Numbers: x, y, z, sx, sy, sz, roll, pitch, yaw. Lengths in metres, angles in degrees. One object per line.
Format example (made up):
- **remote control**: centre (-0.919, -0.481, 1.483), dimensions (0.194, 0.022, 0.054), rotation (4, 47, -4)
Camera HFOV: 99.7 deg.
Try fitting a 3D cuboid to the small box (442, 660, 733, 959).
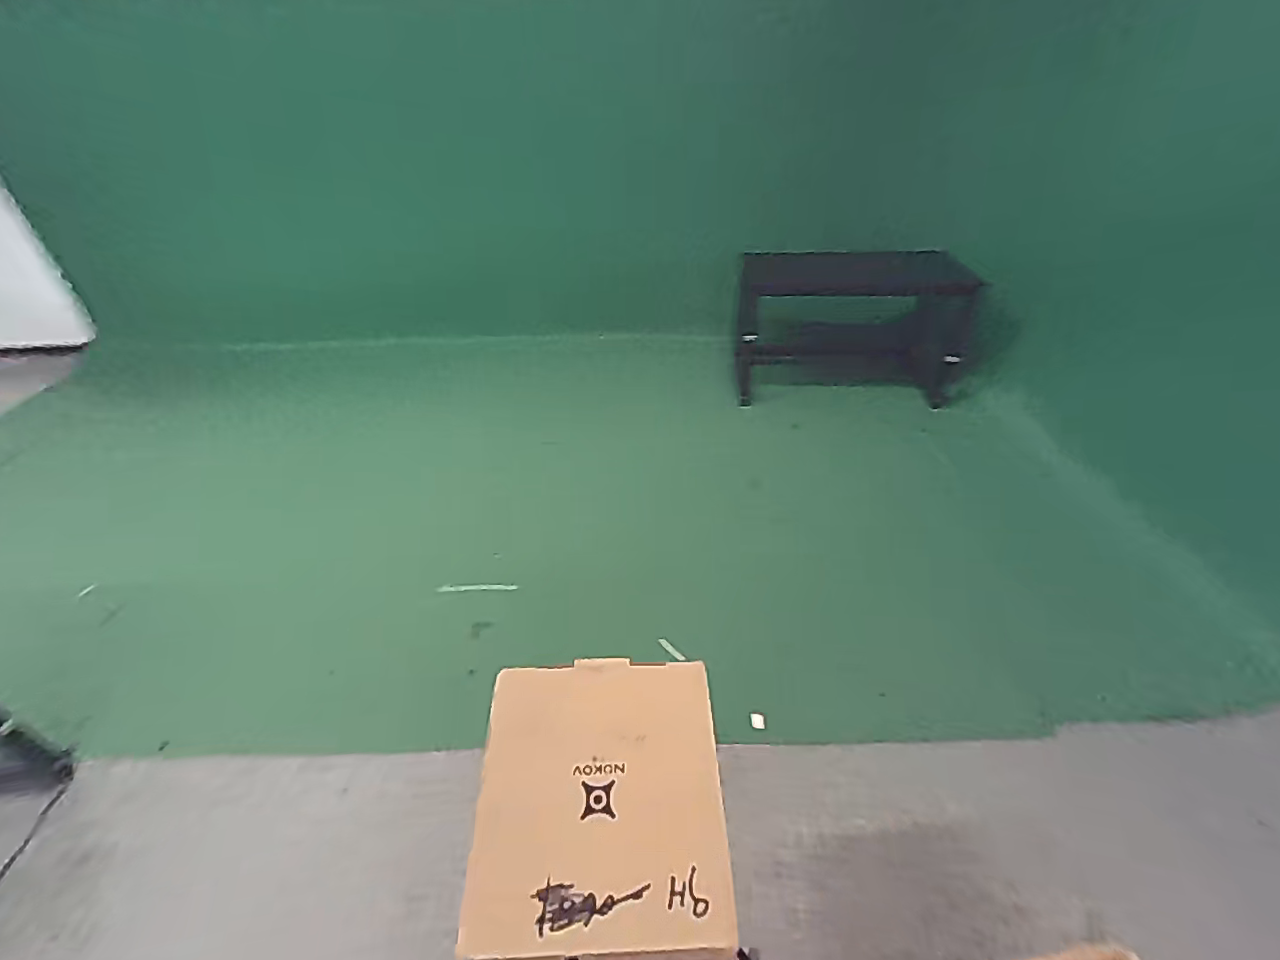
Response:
- **small box**: centre (-0.032, 0.260, 0.414), dimensions (0.168, 0.176, 0.179), rotation (-2, 45, -1)
